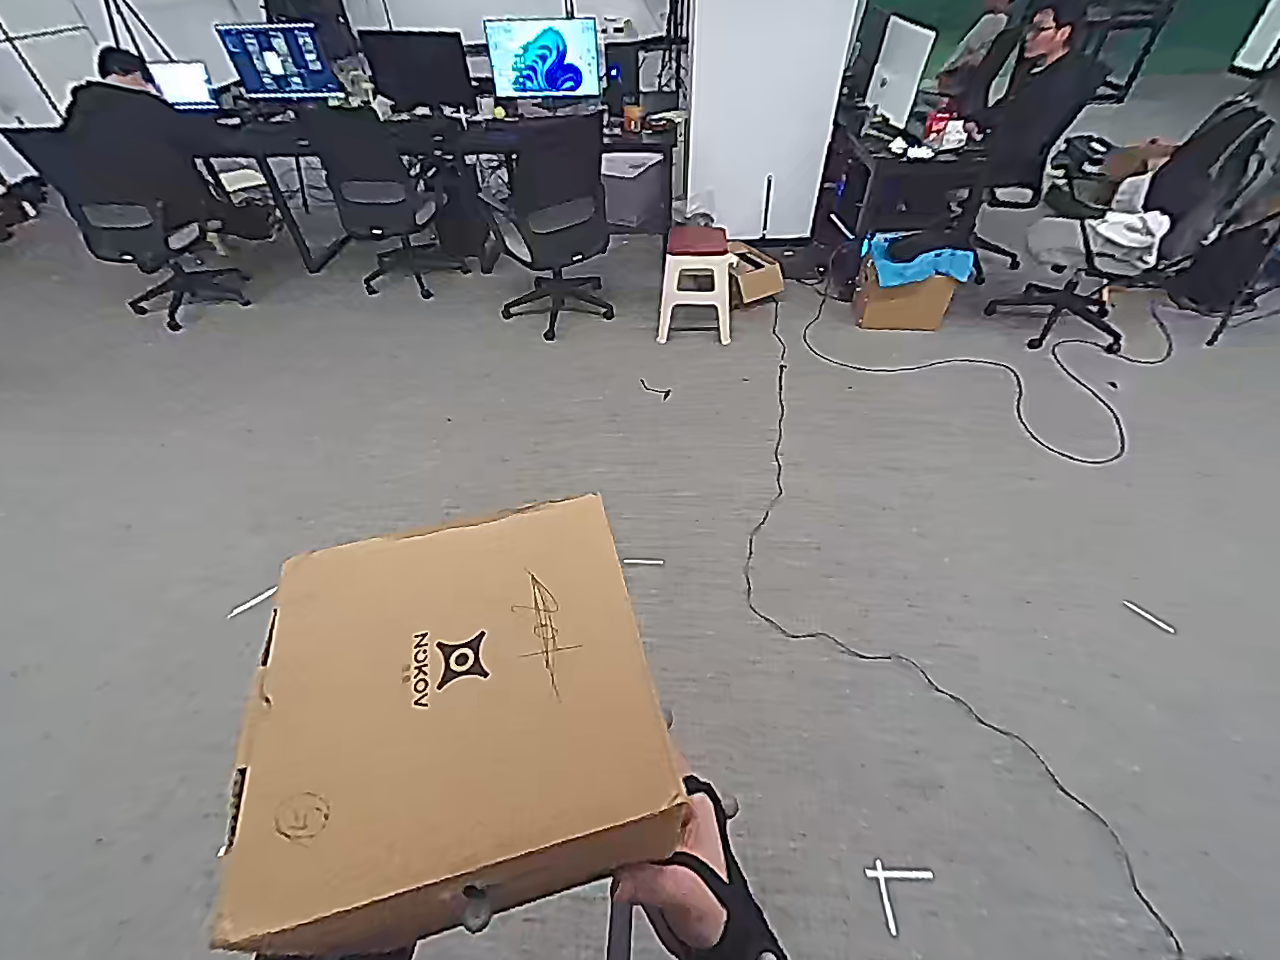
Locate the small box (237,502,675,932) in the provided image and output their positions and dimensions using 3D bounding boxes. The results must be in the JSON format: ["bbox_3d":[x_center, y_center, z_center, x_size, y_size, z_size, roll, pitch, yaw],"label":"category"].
[{"bbox_3d":[-0.086,0.142,0.323,0.179,0.176,0.168,-12,51,-10],"label":"small box"}]
